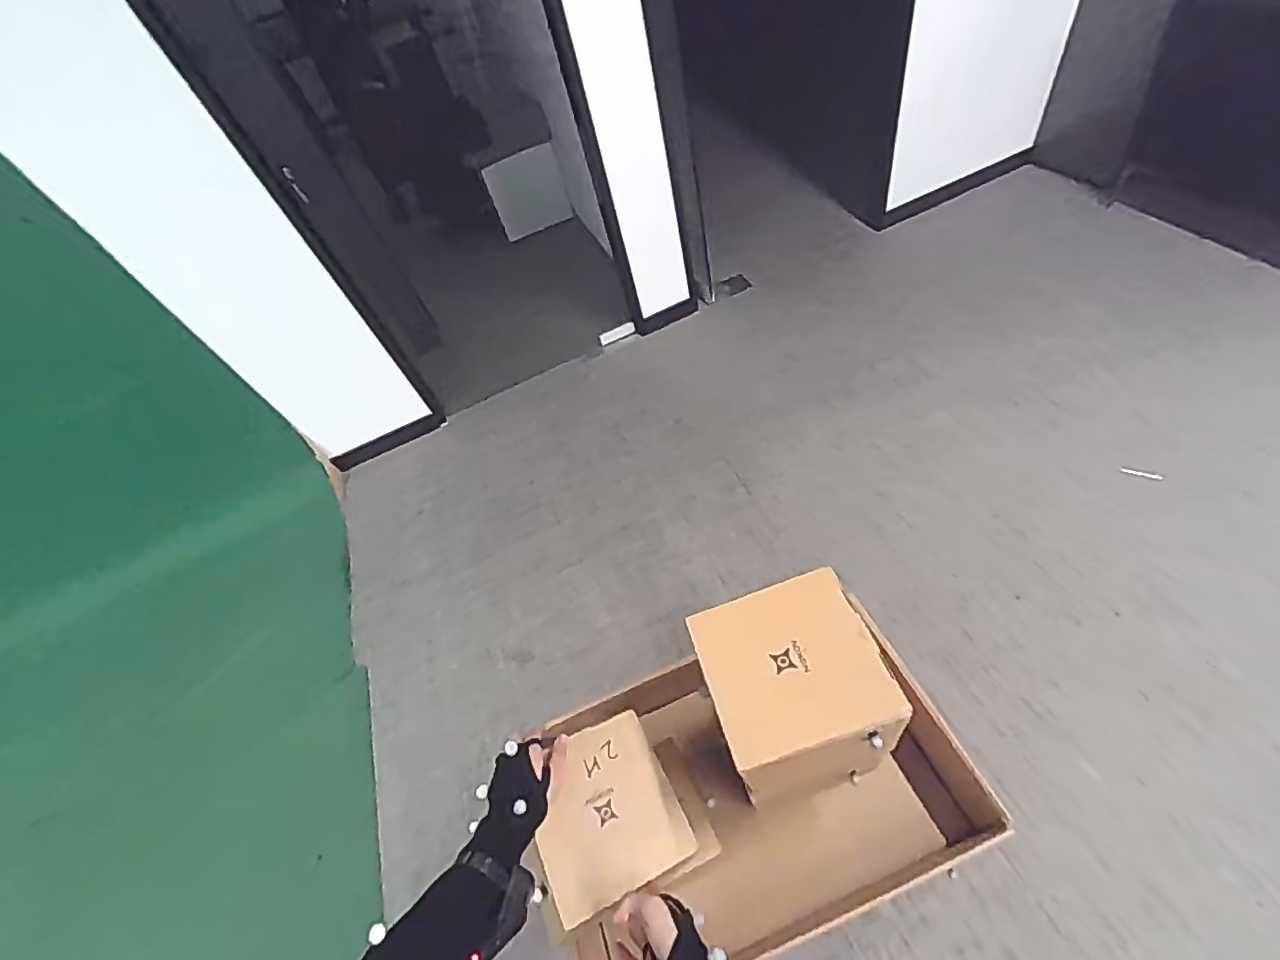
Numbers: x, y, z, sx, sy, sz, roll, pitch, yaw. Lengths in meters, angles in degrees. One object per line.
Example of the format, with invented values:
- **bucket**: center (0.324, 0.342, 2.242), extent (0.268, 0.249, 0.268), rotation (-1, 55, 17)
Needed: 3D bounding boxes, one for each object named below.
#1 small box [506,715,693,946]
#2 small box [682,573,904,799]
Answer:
- **small box**: center (-0.061, 0.434, 0.669), extent (0.168, 0.176, 0.179), rotation (-13, 49, -27)
- **small box**: center (0.165, 0.238, 0.610), extent (0.179, 0.176, 0.168), rotation (-20, 50, 1)
